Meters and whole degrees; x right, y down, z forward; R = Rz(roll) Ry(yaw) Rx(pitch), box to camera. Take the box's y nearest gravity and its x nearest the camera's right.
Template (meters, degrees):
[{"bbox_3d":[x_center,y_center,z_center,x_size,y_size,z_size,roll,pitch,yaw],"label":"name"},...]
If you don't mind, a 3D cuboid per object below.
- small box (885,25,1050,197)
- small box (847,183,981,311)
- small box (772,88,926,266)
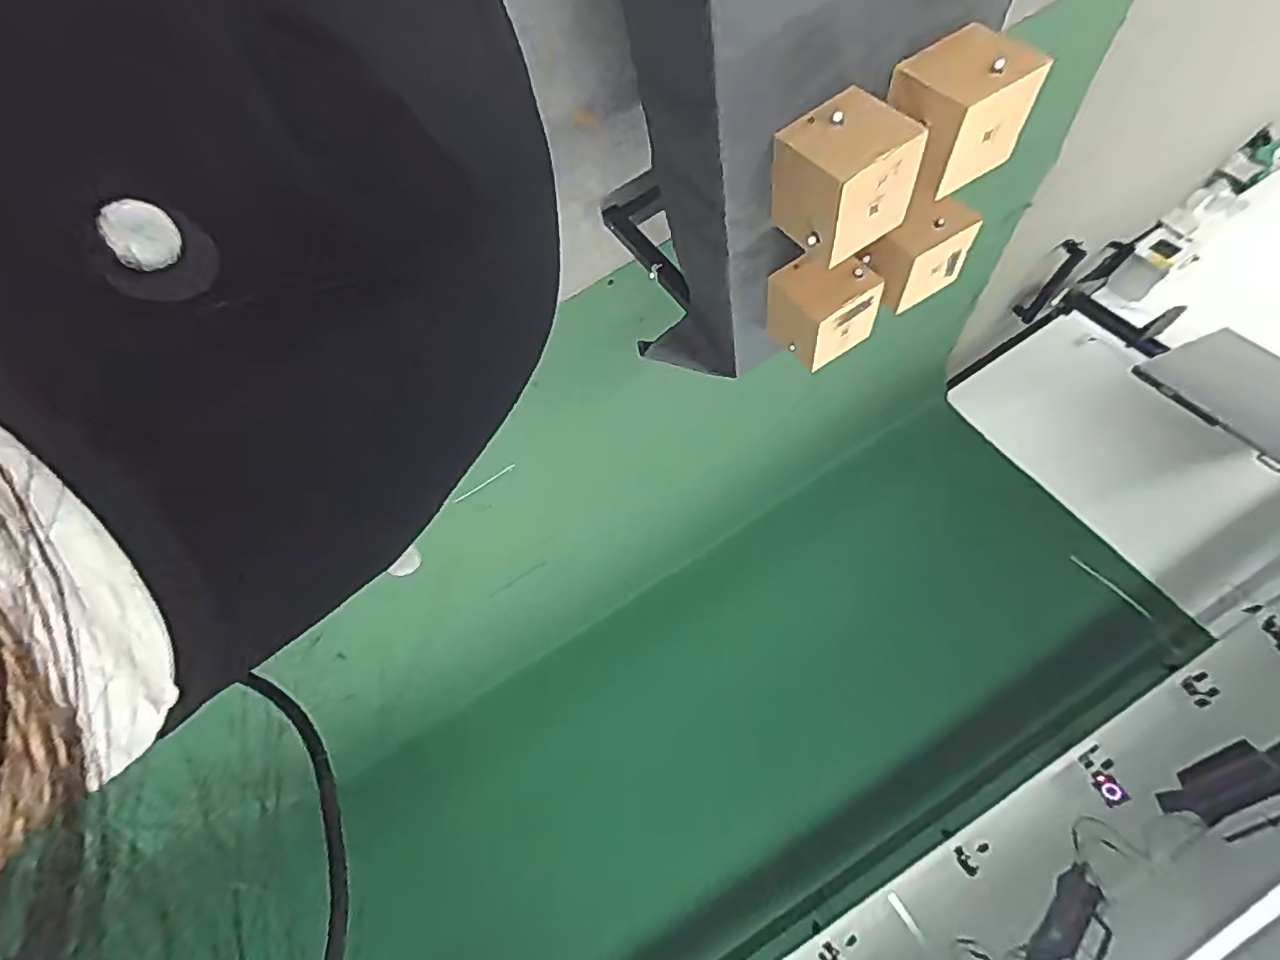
[{"bbox_3d":[0.548,-0.647,0.951,0.179,0.176,0.168,-32,153,-6],"label":"small box"},{"bbox_3d":[0.600,-0.522,1.207,0.179,0.176,0.168,-31,152,-6],"label":"small box"},{"bbox_3d":[0.342,-0.516,0.925,0.168,0.176,0.179,-33,153,-5],"label":"small box"}]
